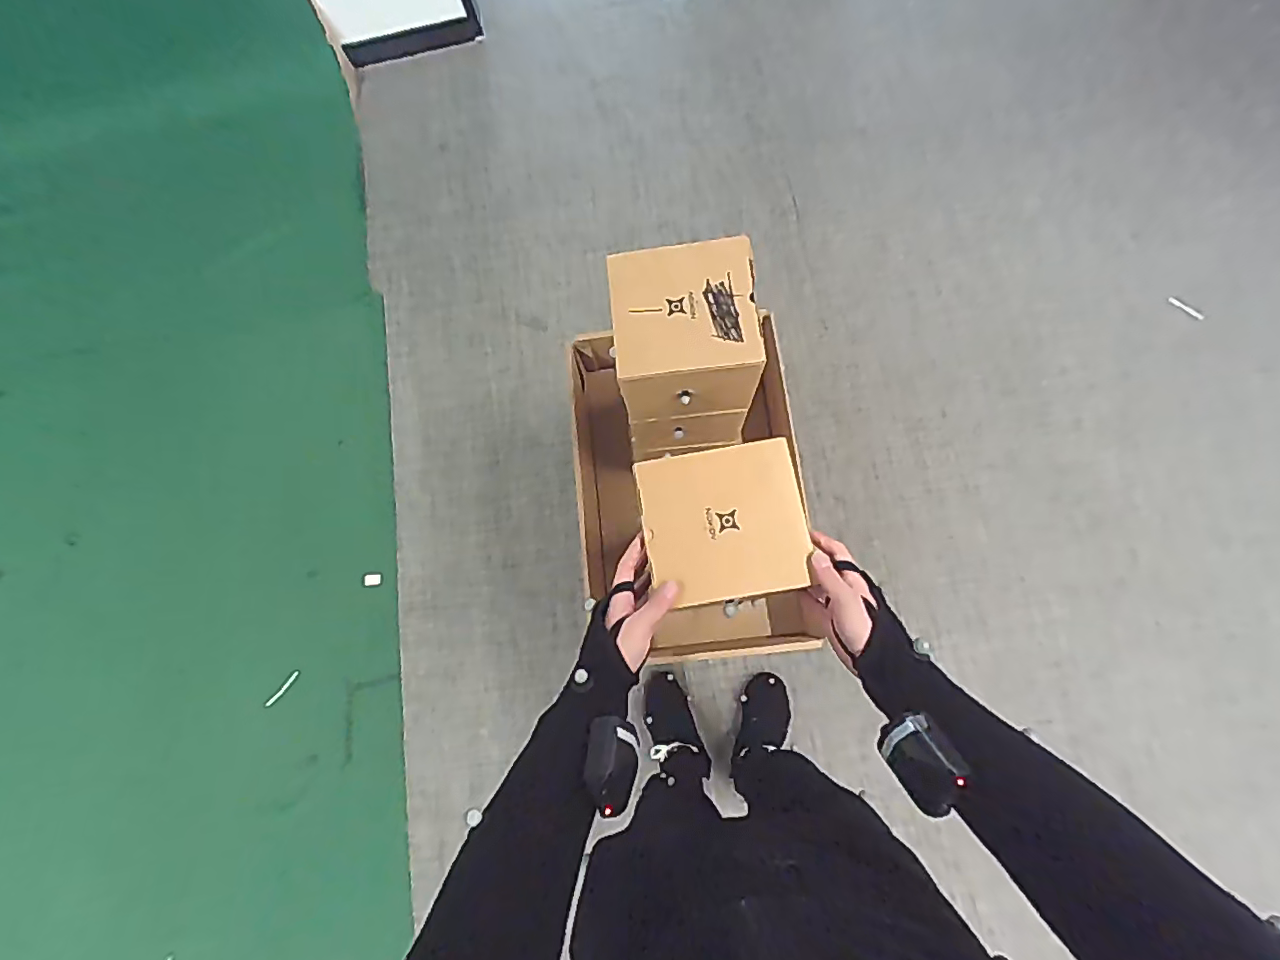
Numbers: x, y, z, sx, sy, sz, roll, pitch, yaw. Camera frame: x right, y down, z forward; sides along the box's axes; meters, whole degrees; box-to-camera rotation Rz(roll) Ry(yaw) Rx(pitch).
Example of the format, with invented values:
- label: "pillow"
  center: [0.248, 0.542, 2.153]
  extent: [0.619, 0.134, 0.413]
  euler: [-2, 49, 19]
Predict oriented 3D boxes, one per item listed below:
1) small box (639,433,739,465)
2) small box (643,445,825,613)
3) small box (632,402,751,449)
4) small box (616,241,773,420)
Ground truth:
- label: "small box"
  center: [0.089, -0.116, 1.040]
  extent: [0.179, 0.176, 0.168]
  euler: [-4, 78, 2]
- label: "small box"
  center: [0.102, 0.067, 0.661]
  extent: [0.179, 0.176, 0.168]
  euler: [-9, 76, 2]
- label: "small box"
  center: [0.079, -0.153, 0.880]
  extent: [0.179, 0.176, 0.168]
  euler: [-5, 79, 4]
- label: "small box"
  center: [0.067, -0.187, 0.719]
  extent: [0.179, 0.176, 0.168]
  euler: [-5, 78, 4]
